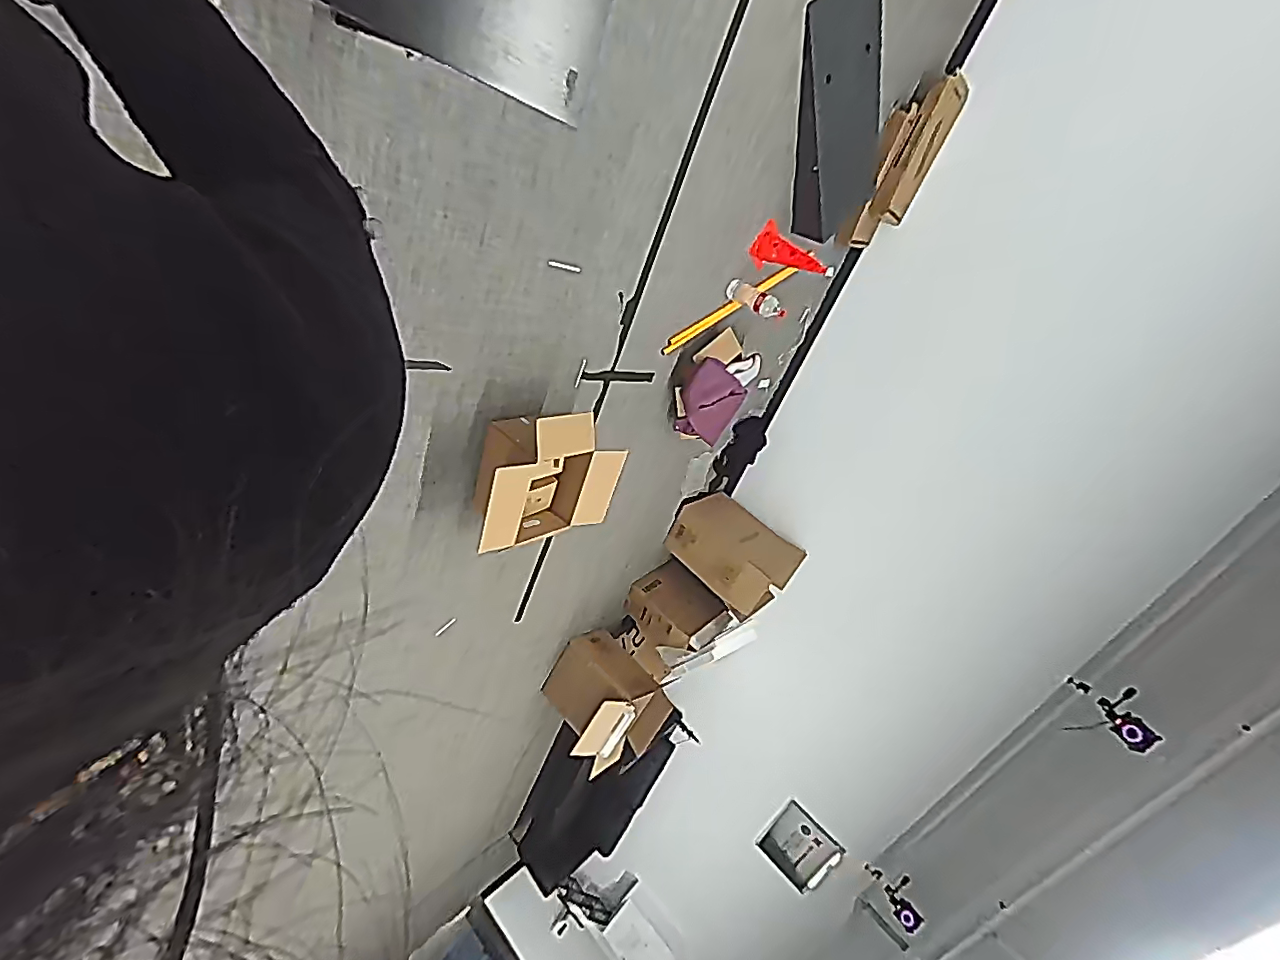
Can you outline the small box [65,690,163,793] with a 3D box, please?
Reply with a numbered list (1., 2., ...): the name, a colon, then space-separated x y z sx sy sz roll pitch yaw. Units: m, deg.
1. small box: -1.517 0.745 1.560 0.179 0.176 0.168 -9 129 -51
